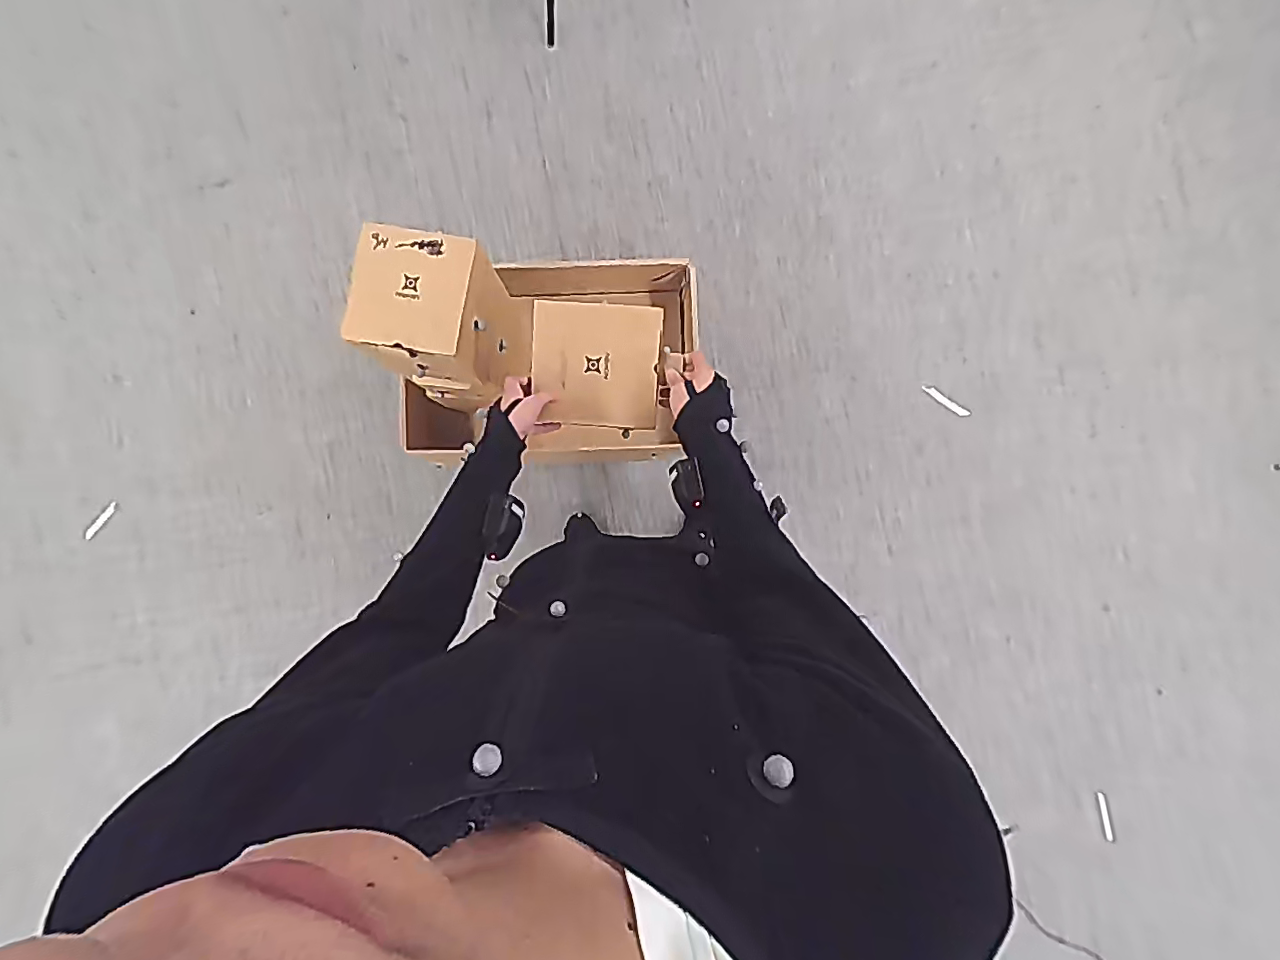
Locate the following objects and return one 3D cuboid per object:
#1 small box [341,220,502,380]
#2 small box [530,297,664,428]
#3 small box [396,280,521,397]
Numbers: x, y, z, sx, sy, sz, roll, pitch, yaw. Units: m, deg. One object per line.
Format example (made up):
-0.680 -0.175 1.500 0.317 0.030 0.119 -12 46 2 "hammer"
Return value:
-0.324 -0.264 0.837 0.168 0.176 0.179 10 87 0 "small box"
-0.060 -0.165 0.809 0.179 0.176 0.168 3 95 -1 "small box"
-0.326 -0.260 1.002 0.168 0.176 0.179 6 86 0 "small box"
